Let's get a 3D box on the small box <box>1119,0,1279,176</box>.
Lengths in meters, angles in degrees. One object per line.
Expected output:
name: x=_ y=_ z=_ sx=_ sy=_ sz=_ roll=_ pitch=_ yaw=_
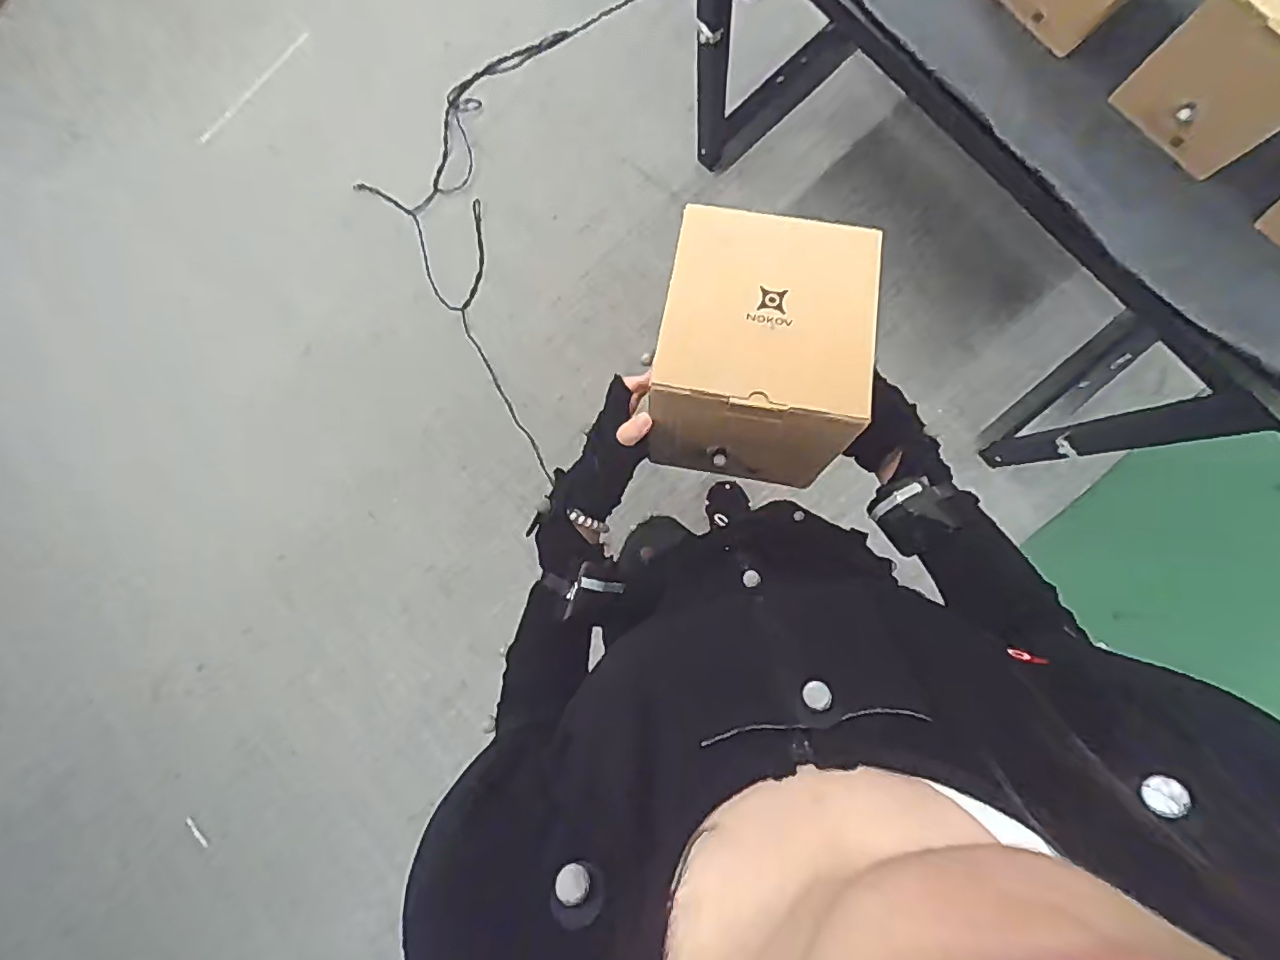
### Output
small box: x=0.742 y=-0.515 z=0.637 sx=0.179 sy=0.176 sz=0.168 roll=-42 pitch=83 yaw=2

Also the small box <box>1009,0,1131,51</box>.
small box: x=0.582 y=-0.696 z=0.664 sx=0.179 sy=0.176 sz=0.168 roll=-40 pitch=84 yaw=2

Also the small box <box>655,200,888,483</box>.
small box: x=0.107 y=-0.114 z=0.496 sx=0.168 sy=0.176 sz=0.179 roll=9 pitch=73 yaw=3
